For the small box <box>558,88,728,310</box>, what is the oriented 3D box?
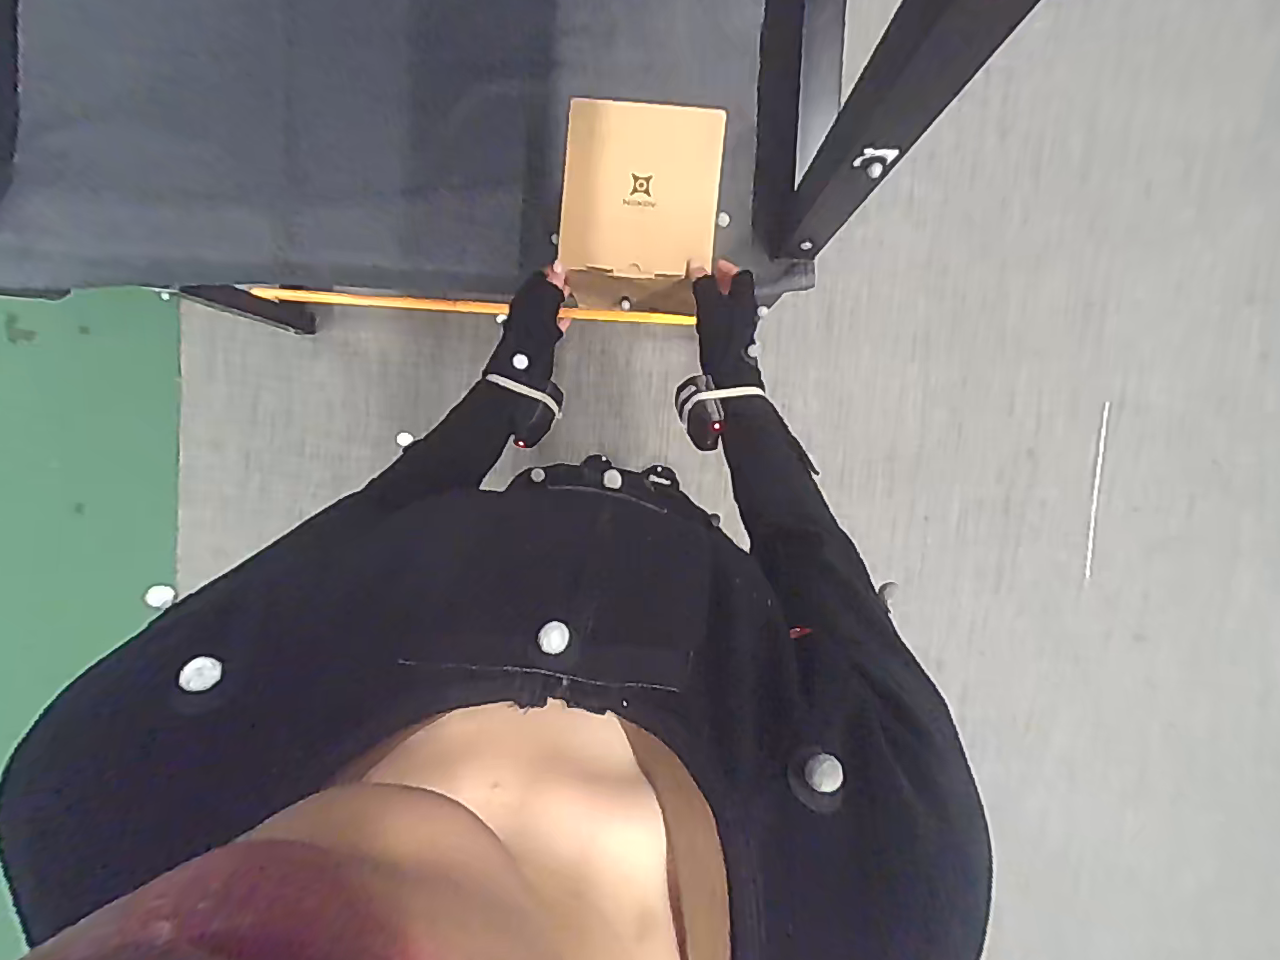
[{"bbox_3d":[0.003,-0.317,0.643,0.168,0.176,0.179,5,95,1],"label":"small box"}]
